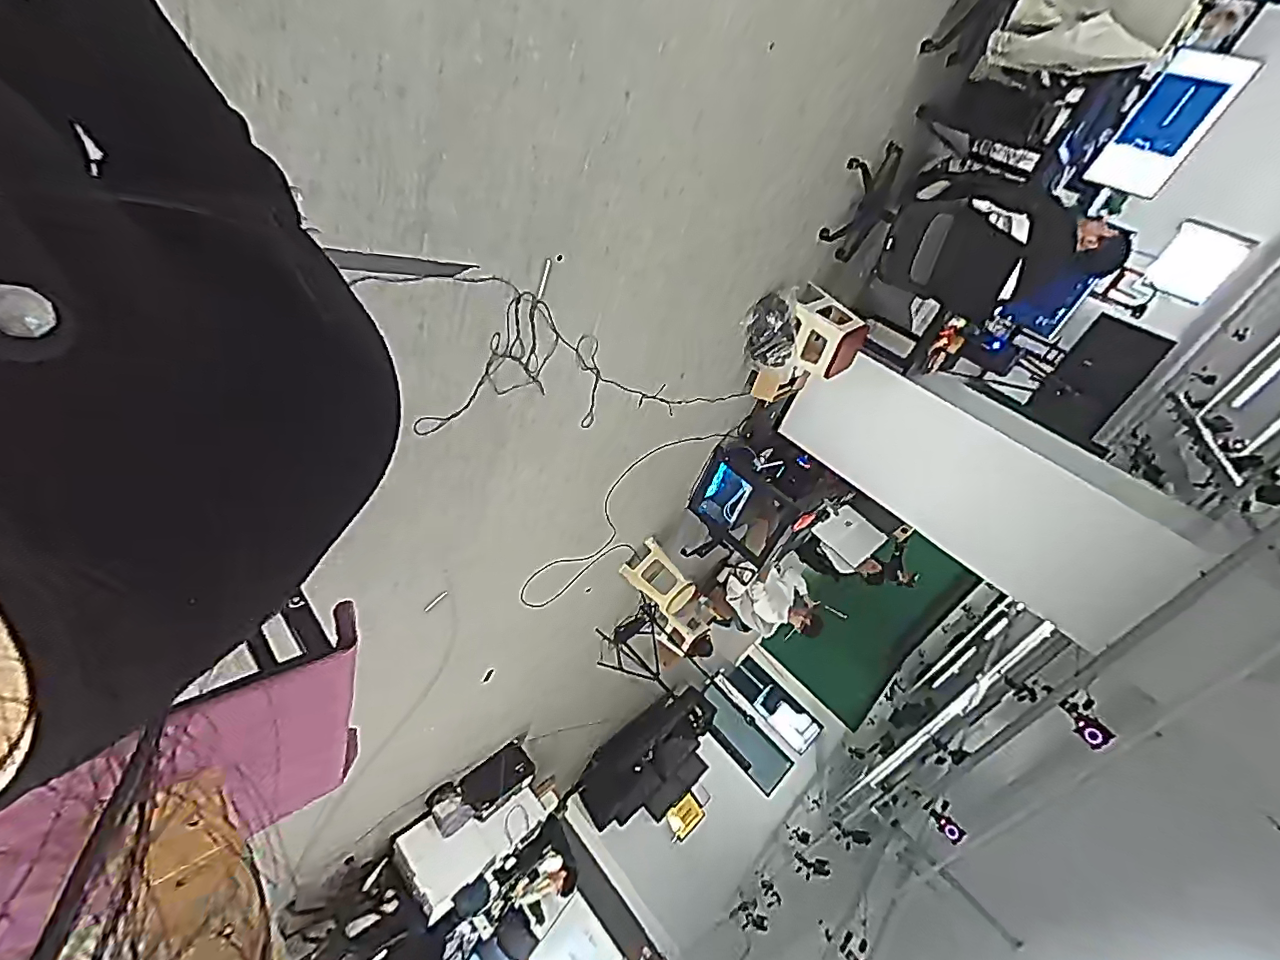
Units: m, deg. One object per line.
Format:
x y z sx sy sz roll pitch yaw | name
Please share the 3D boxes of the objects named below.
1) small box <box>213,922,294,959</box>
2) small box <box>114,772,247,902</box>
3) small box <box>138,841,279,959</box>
-0.687 0.919 0.928 0.168 0.176 0.179 -16 139 -48 | small box
-0.906 0.721 1.073 0.168 0.176 0.179 -17 140 -48 | small box
-0.797 0.823 1.005 0.168 0.176 0.179 -18 141 -47 | small box
